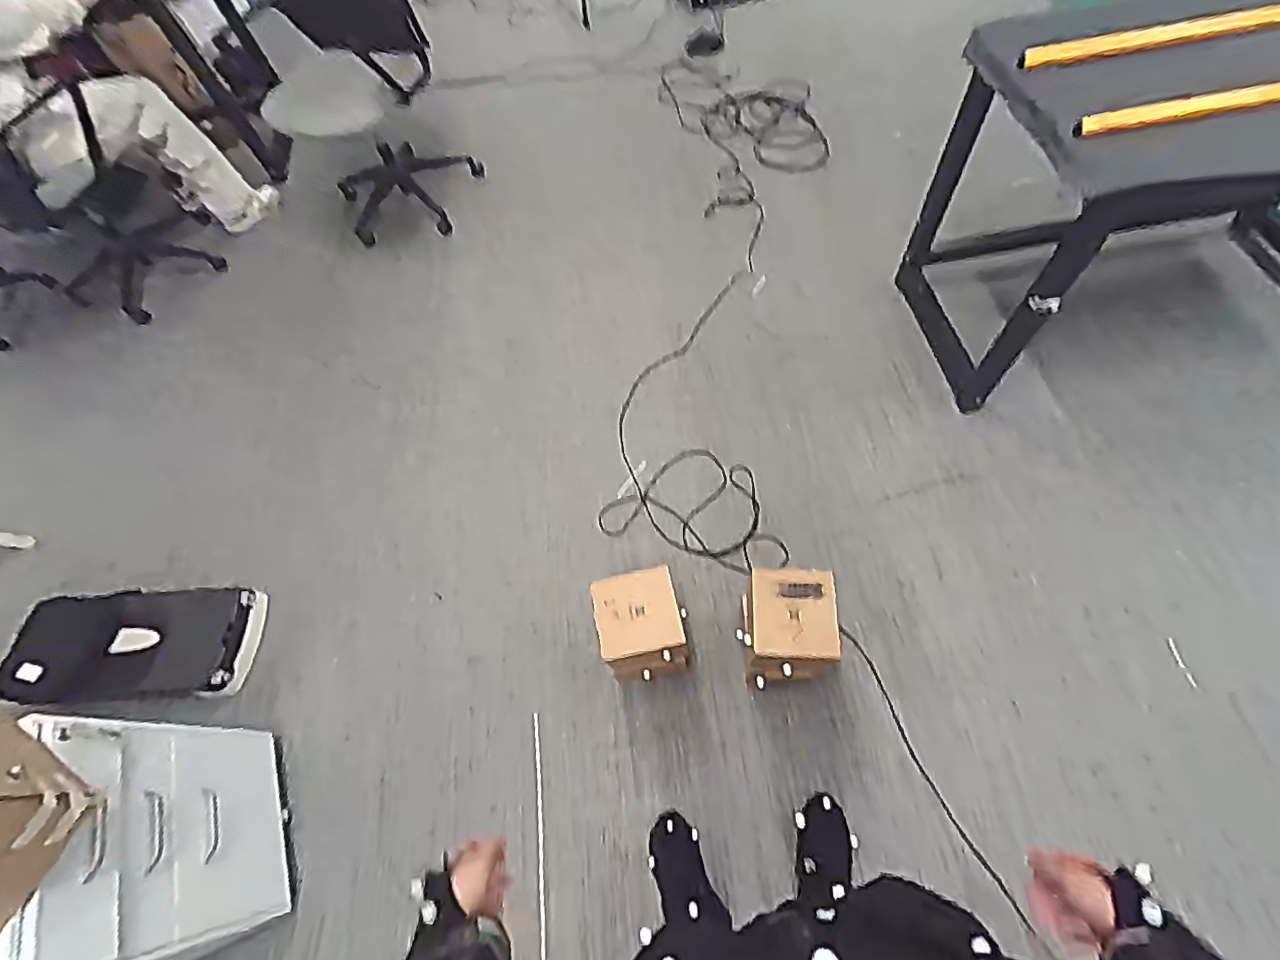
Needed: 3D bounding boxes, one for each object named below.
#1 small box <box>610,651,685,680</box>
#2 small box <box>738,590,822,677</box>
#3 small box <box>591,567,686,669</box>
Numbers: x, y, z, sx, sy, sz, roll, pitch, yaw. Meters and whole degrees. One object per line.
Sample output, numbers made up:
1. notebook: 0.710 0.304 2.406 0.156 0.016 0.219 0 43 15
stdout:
1. small box: 0.013 0.390 1.339 0.179 0.176 0.168 -12 63 1
2. small box: 0.330 0.376 1.306 0.168 0.176 0.179 -4 62 5
3. small box: 0.002 0.310 1.195 0.179 0.176 0.168 -14 62 1
